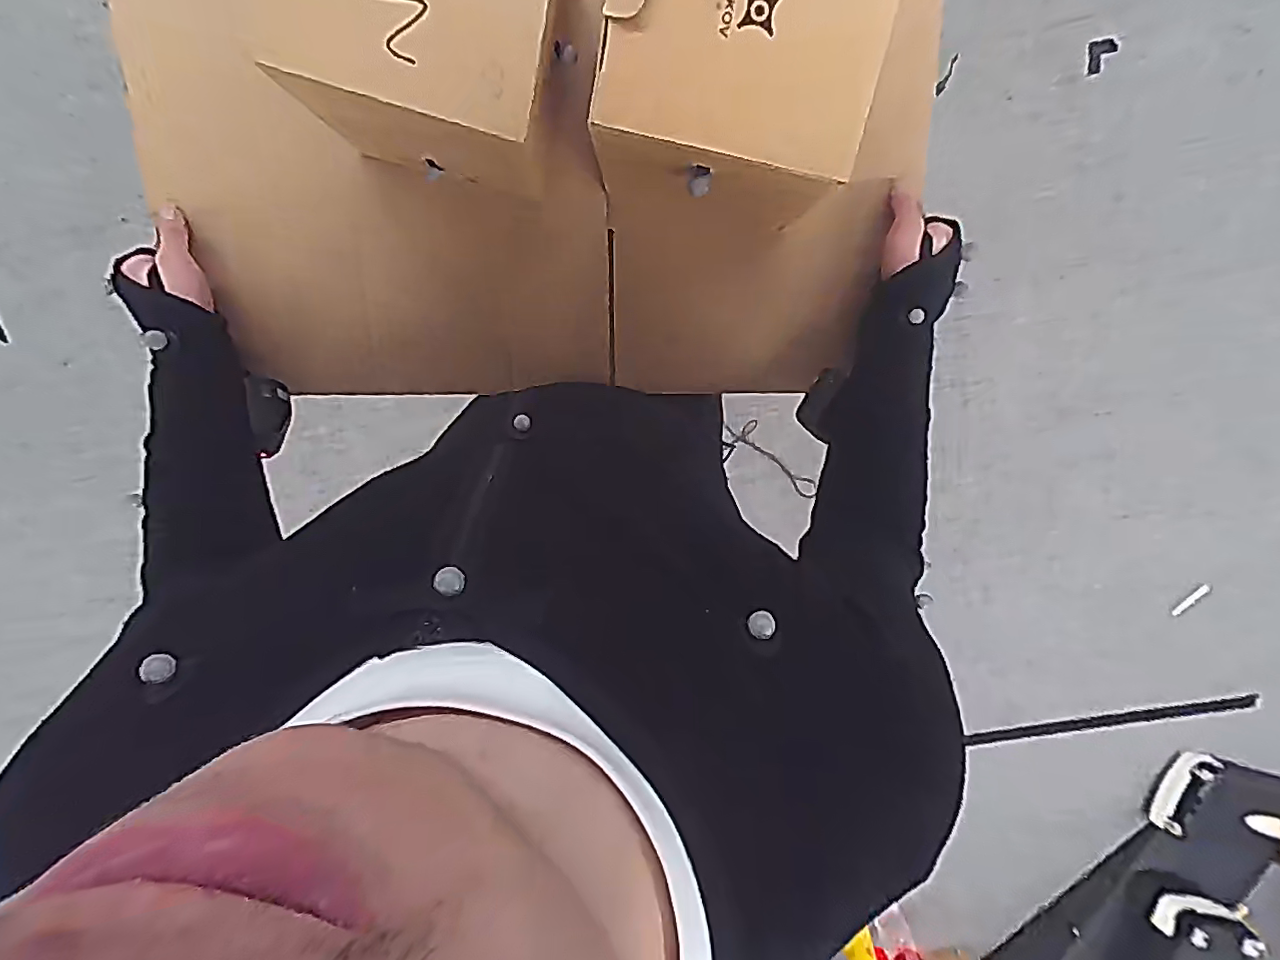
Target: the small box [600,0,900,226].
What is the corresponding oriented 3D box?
[{"bbox_3d":[0.076,-0.313,0.423,0.179,0.176,0.168,12,104,-1],"label":"small box"}]
